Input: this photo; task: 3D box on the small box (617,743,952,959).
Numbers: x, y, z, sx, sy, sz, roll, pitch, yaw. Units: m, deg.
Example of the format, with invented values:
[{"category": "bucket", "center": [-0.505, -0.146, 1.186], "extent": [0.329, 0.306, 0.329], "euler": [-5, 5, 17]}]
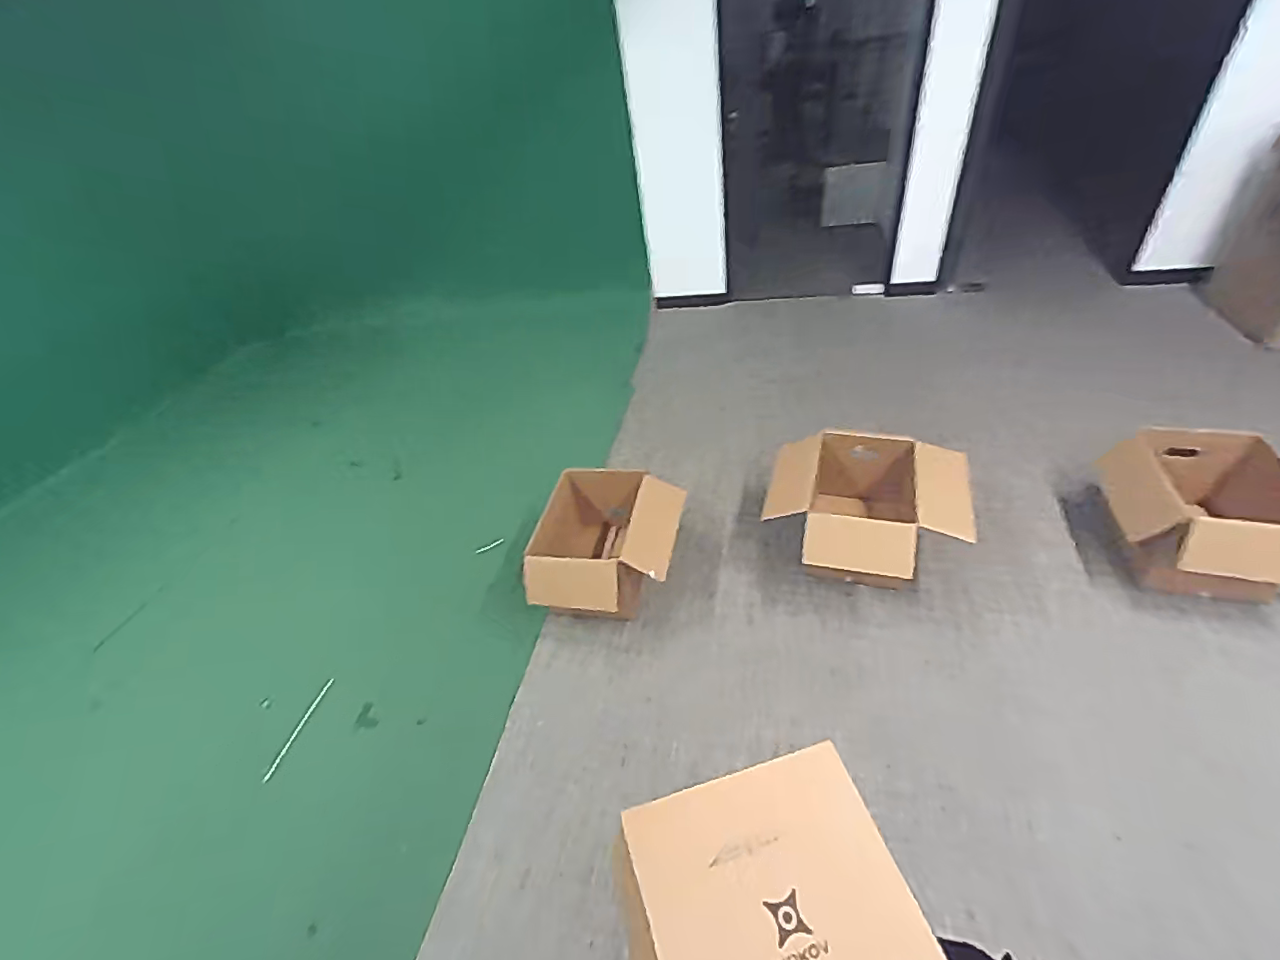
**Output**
[{"category": "small box", "center": [0.085, 0.318, 0.376], "extent": [0.168, 0.176, 0.179], "euler": [-9, 48, -16]}]
